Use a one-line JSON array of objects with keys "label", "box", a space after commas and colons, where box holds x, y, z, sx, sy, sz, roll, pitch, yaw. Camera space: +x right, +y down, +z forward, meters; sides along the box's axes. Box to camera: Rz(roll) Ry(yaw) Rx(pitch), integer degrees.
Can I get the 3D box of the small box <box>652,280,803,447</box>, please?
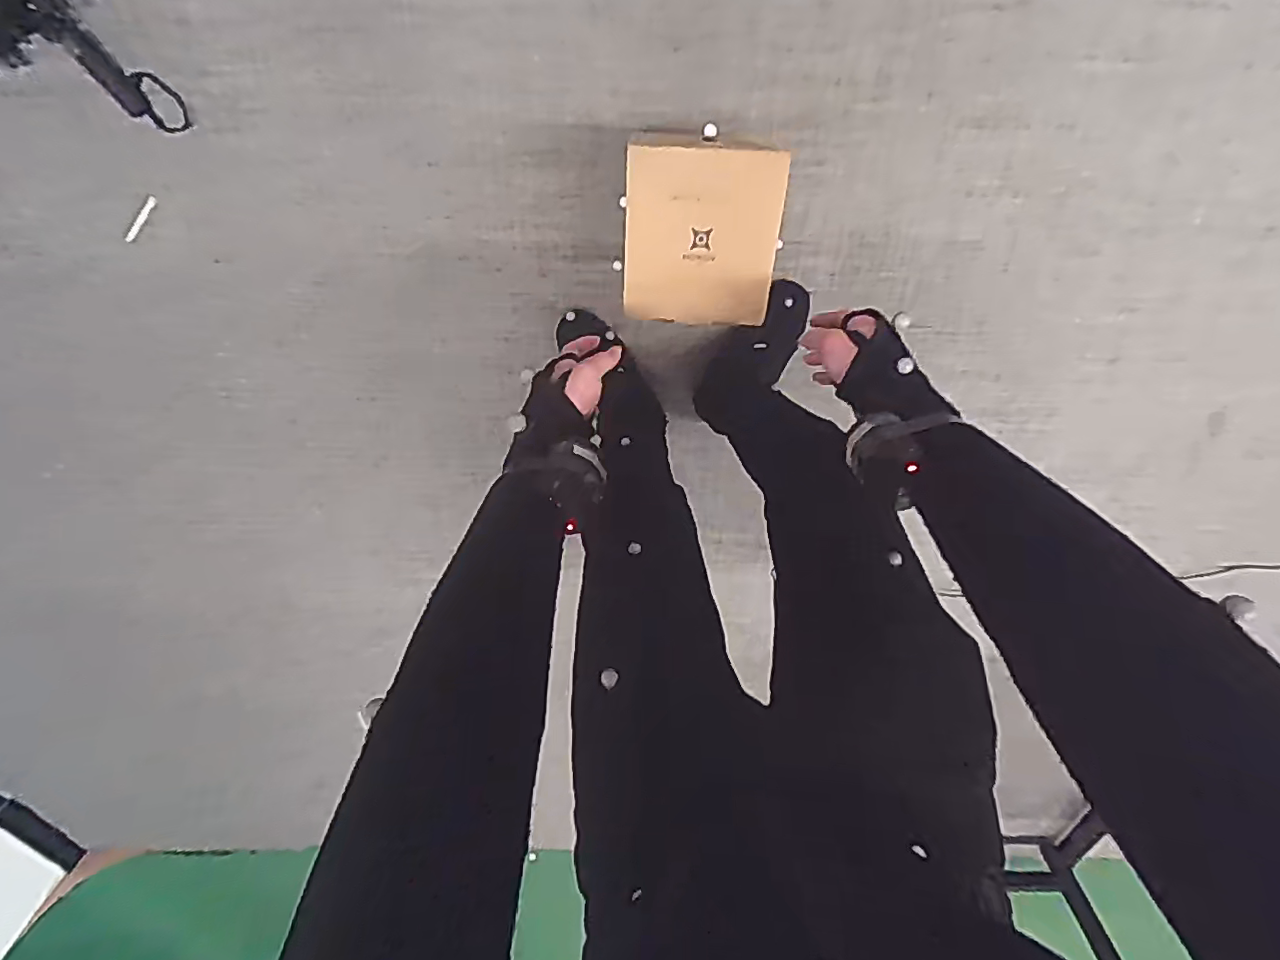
[{"label": "small box", "box": [0.103, -0.155, 0.692, 0.168, 0.176, 0.179, -4, 112, 3]}]
